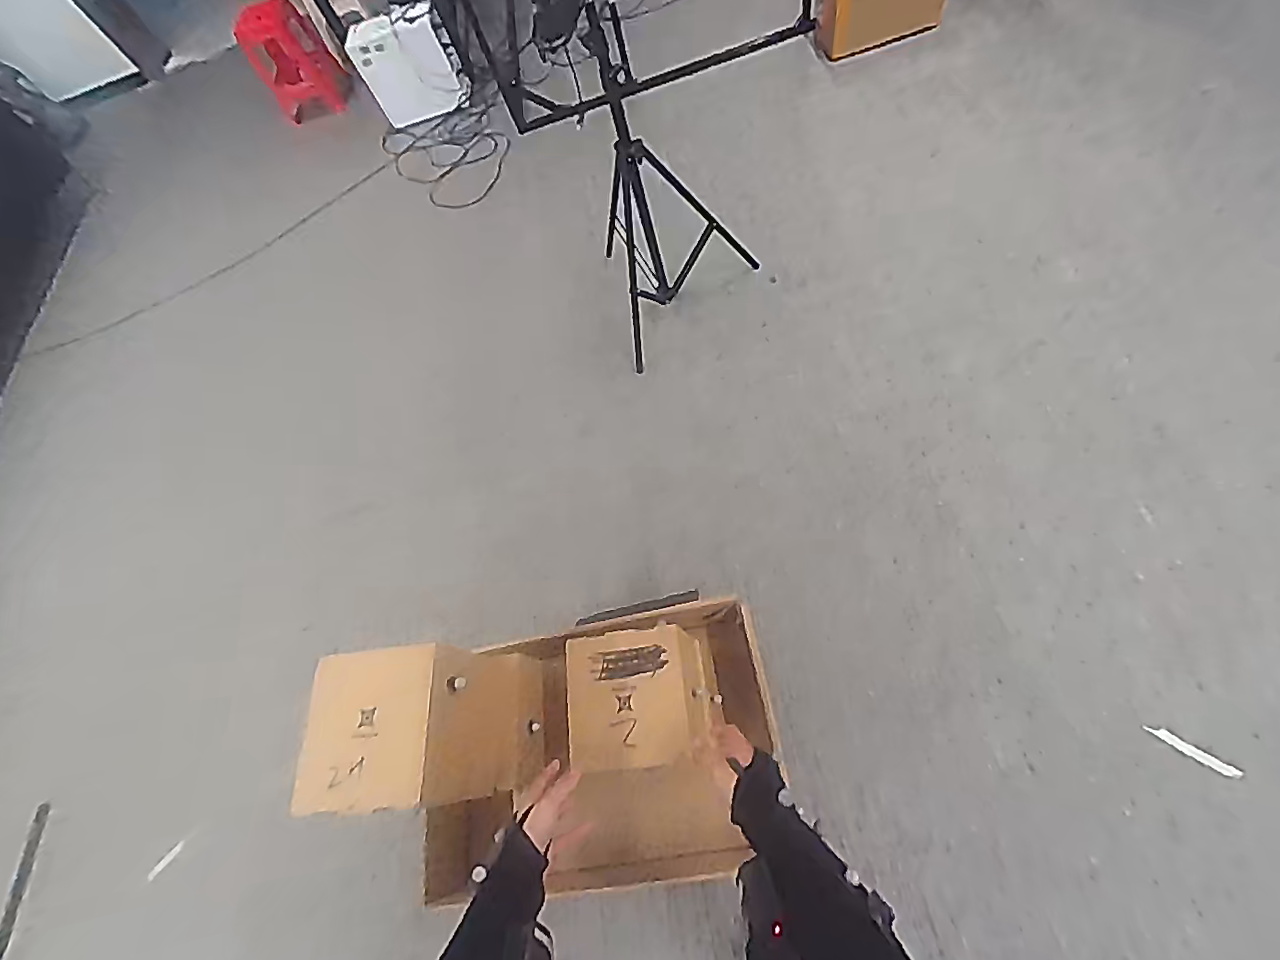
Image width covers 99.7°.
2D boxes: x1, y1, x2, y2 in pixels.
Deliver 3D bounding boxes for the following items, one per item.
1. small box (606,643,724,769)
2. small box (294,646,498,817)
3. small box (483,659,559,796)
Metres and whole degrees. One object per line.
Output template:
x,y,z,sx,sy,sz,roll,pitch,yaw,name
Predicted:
0.046,0.399,0.948,0.168,0.176,0.179,-13,63,10,small box
-0.296,0.323,0.699,0.168,0.176,0.179,-9,64,10,small box
-0.230,0.386,0.839,0.168,0.176,0.179,-10,62,10,small box
